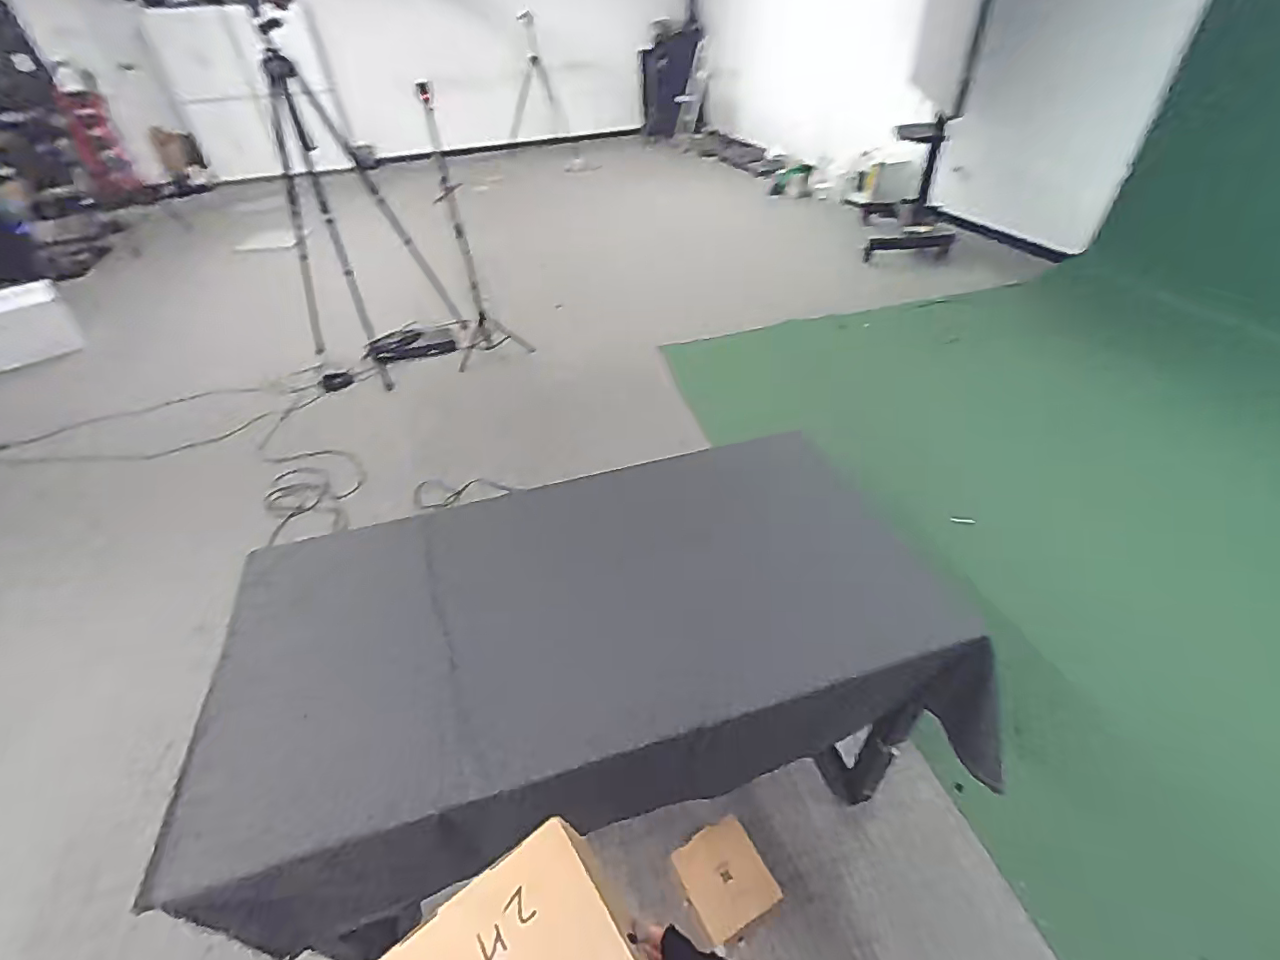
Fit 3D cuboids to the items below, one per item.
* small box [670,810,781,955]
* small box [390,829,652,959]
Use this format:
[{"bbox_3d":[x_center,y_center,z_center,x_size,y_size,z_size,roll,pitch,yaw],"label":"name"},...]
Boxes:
[{"bbox_3d":[0.176,0.862,1.159,0.168,0.176,0.179,-22,43,-19],"label":"small box"},{"bbox_3d":[-0.073,0.414,0.415,0.168,0.176,0.179,-31,53,-20],"label":"small box"}]
